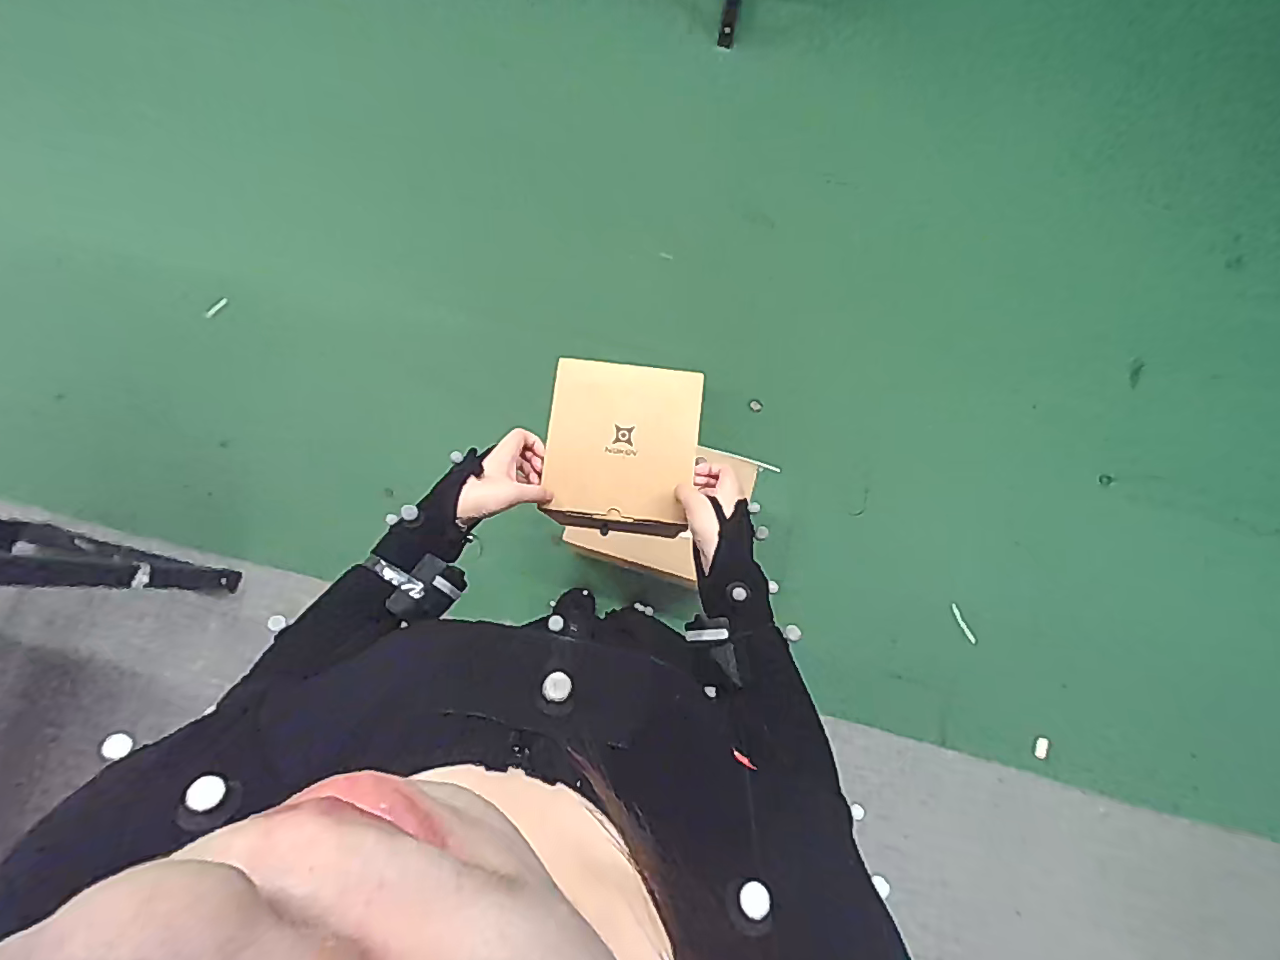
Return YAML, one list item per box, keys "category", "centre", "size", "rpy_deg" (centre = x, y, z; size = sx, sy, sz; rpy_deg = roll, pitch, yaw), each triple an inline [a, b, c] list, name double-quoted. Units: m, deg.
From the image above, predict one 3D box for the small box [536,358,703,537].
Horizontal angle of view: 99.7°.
- category: "small box"
  centre: [-0.023, -0.029, 0.658]
  size: [0.168, 0.176, 0.179]
  rpy_deg: [6, 81, -1]

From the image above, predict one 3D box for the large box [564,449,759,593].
- category: "large box"
  centre: [0.044, 0.089, 1.409]
  size: [0.408, 0.320, 0.320]
  rpy_deg: [17, 78, 0]
